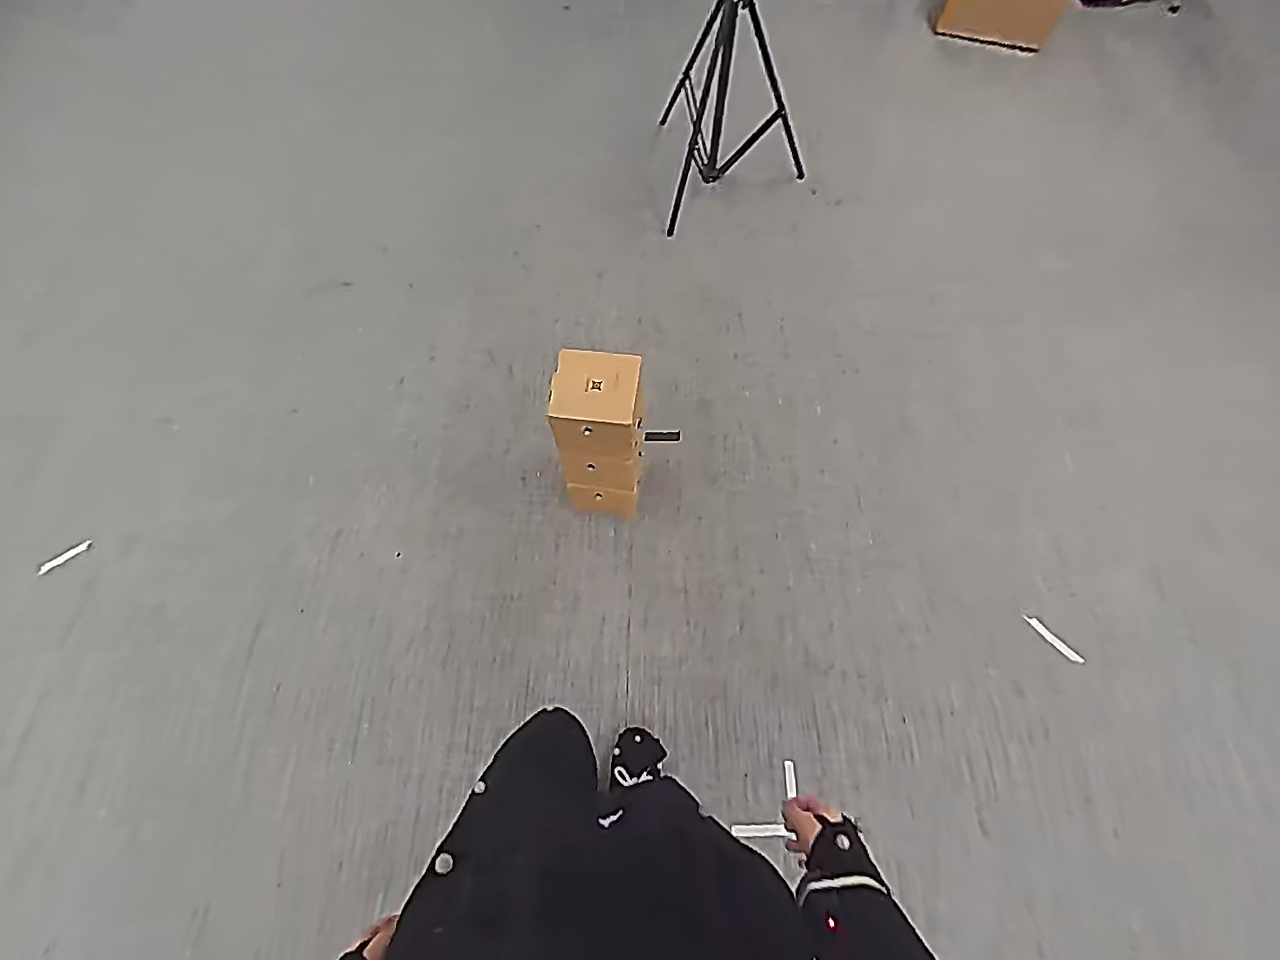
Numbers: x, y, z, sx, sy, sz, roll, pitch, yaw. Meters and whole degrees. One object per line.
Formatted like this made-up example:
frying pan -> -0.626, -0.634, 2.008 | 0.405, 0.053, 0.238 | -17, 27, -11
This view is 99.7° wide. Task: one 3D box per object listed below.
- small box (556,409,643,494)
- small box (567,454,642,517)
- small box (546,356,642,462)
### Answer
small box -> -0.091, -0.078, 1.325 | 0.179, 0.176, 0.168 | 9, 68, 4
small box -> -0.089, -0.005, 1.473 | 0.179, 0.176, 0.168 | 6, 67, 3
small box -> -0.092, -0.149, 1.180 | 0.179, 0.176, 0.168 | 6, 68, 3
